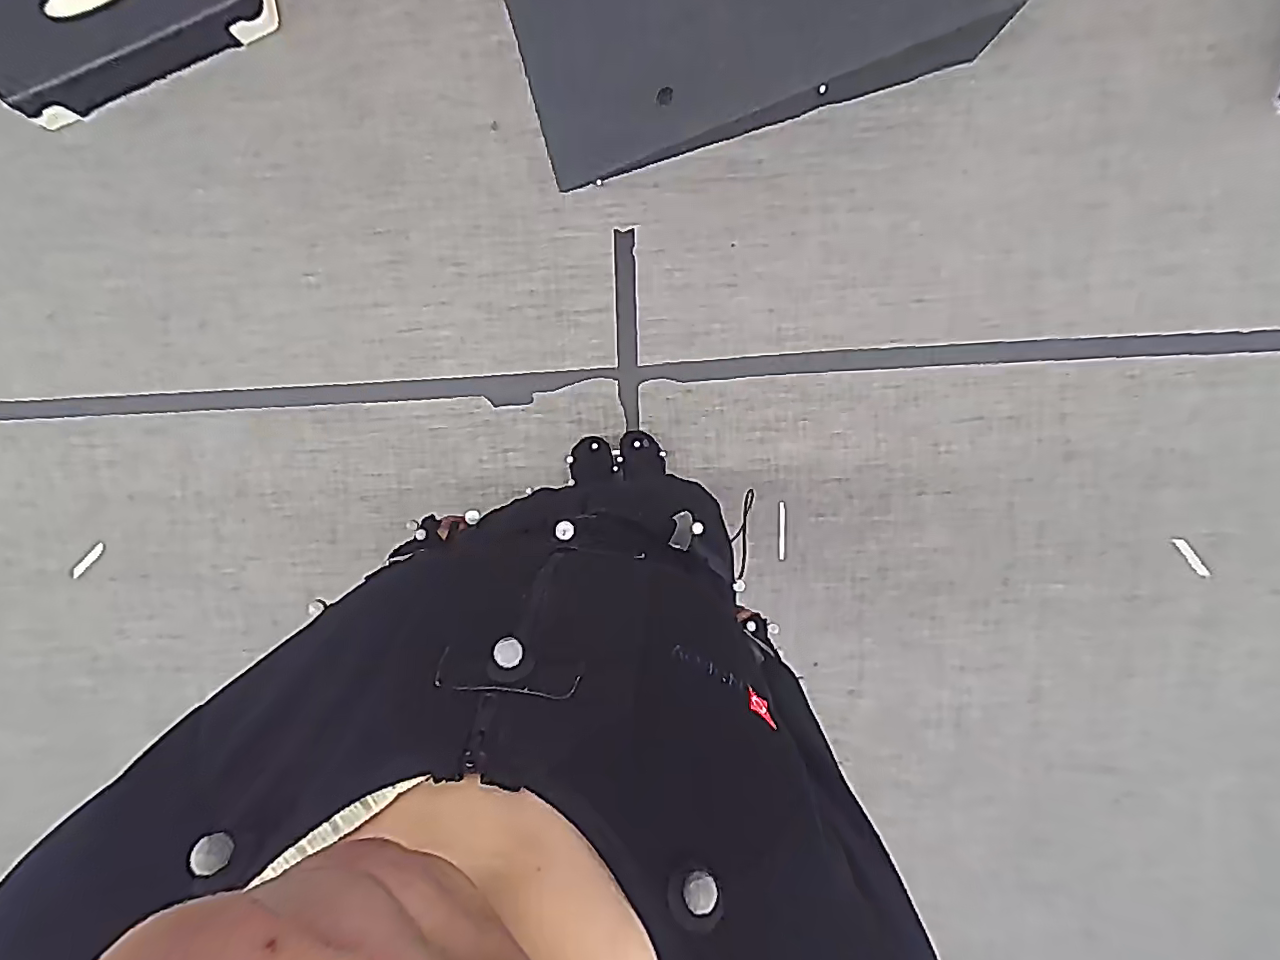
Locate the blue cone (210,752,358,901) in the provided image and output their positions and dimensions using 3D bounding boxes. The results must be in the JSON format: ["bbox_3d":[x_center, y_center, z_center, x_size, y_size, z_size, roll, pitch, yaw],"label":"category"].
[{"bbox_3d":[-0.903,0.880,1.365,0.192,0.380,0.193,-1,98,4],"label":"blue cone"}]
